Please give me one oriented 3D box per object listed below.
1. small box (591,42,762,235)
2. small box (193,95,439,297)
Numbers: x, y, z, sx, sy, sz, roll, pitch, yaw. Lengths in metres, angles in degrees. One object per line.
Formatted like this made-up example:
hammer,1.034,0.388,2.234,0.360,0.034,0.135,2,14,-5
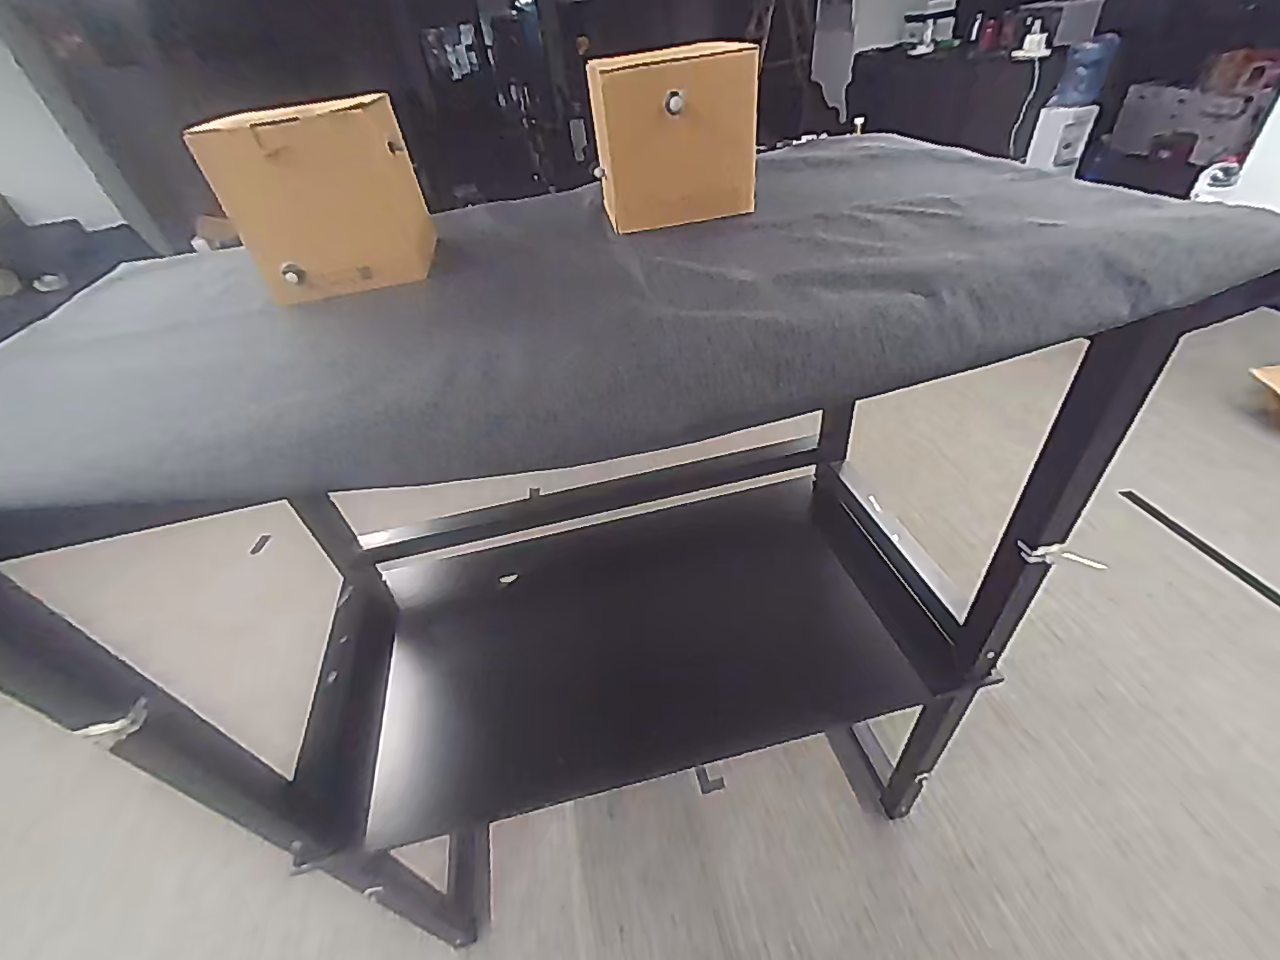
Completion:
small box,0.042,-0.428,0.678,0.179,0.176,0.168,-11,40,-2
small box,-0.345,-0.324,0.623,0.168,0.176,0.179,-13,39,-5
